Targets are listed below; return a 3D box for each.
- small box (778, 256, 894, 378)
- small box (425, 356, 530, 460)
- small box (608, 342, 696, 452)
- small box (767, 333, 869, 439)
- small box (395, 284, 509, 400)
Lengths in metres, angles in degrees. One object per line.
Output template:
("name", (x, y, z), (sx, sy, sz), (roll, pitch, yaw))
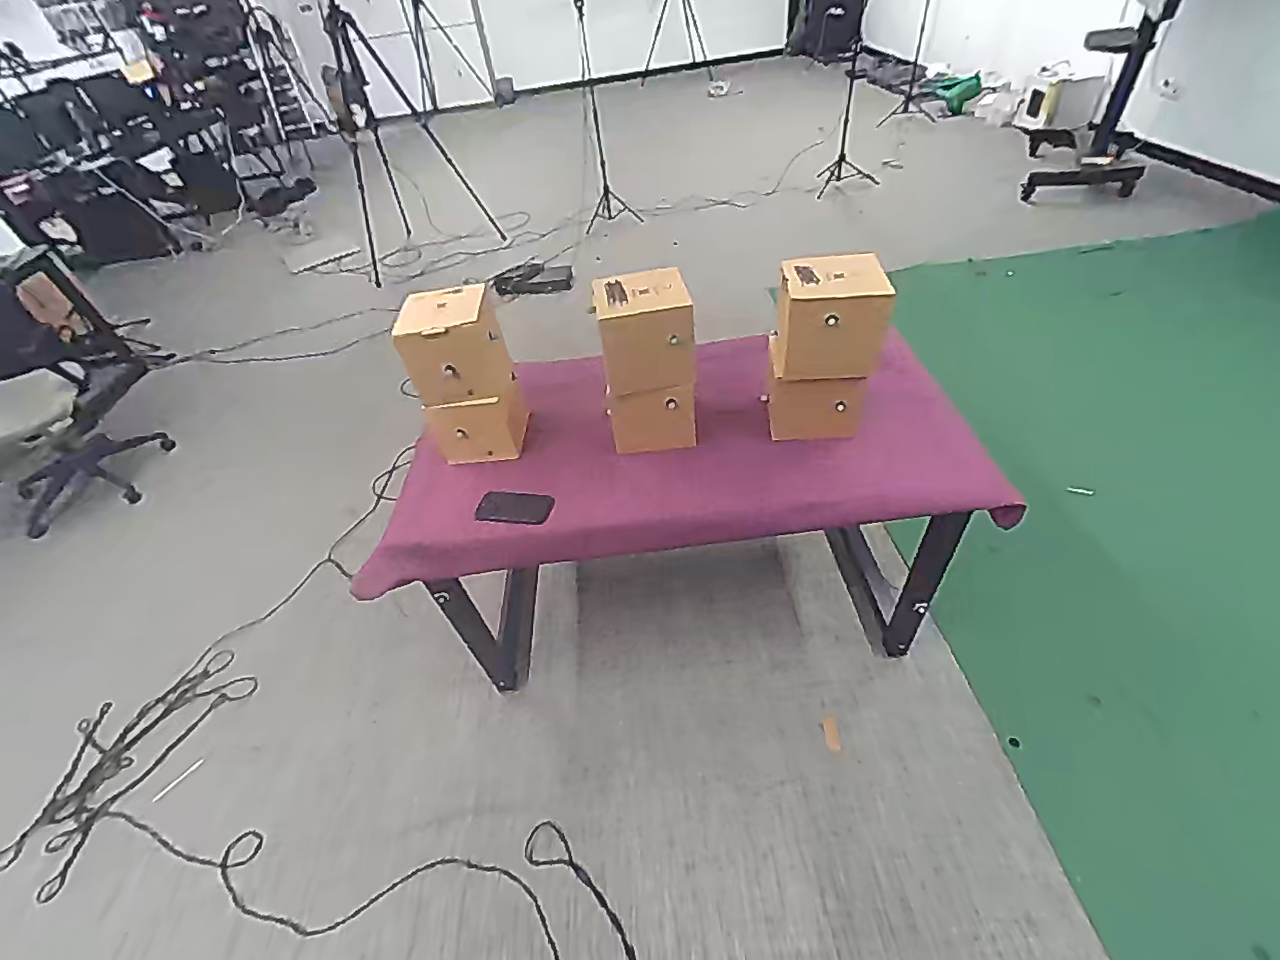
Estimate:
("small box", (0.359, -0.306, 1.028), (0.179, 0.176, 0.168), (-1, 45, 8))
("small box", (-0.358, -0.158, 1.229), (0.168, 0.176, 0.179), (-5, 45, 4))
("small box", (0.030, -0.180, 1.186), (0.179, 0.176, 0.168), (-6, 45, 4))
("small box", (0.369, -0.201, 1.154), (0.179, 0.176, 0.168), (-1, 45, 9))
("small box", (-0.377, -0.279, 1.120), (0.168, 0.176, 0.179), (-8, 45, 0))
